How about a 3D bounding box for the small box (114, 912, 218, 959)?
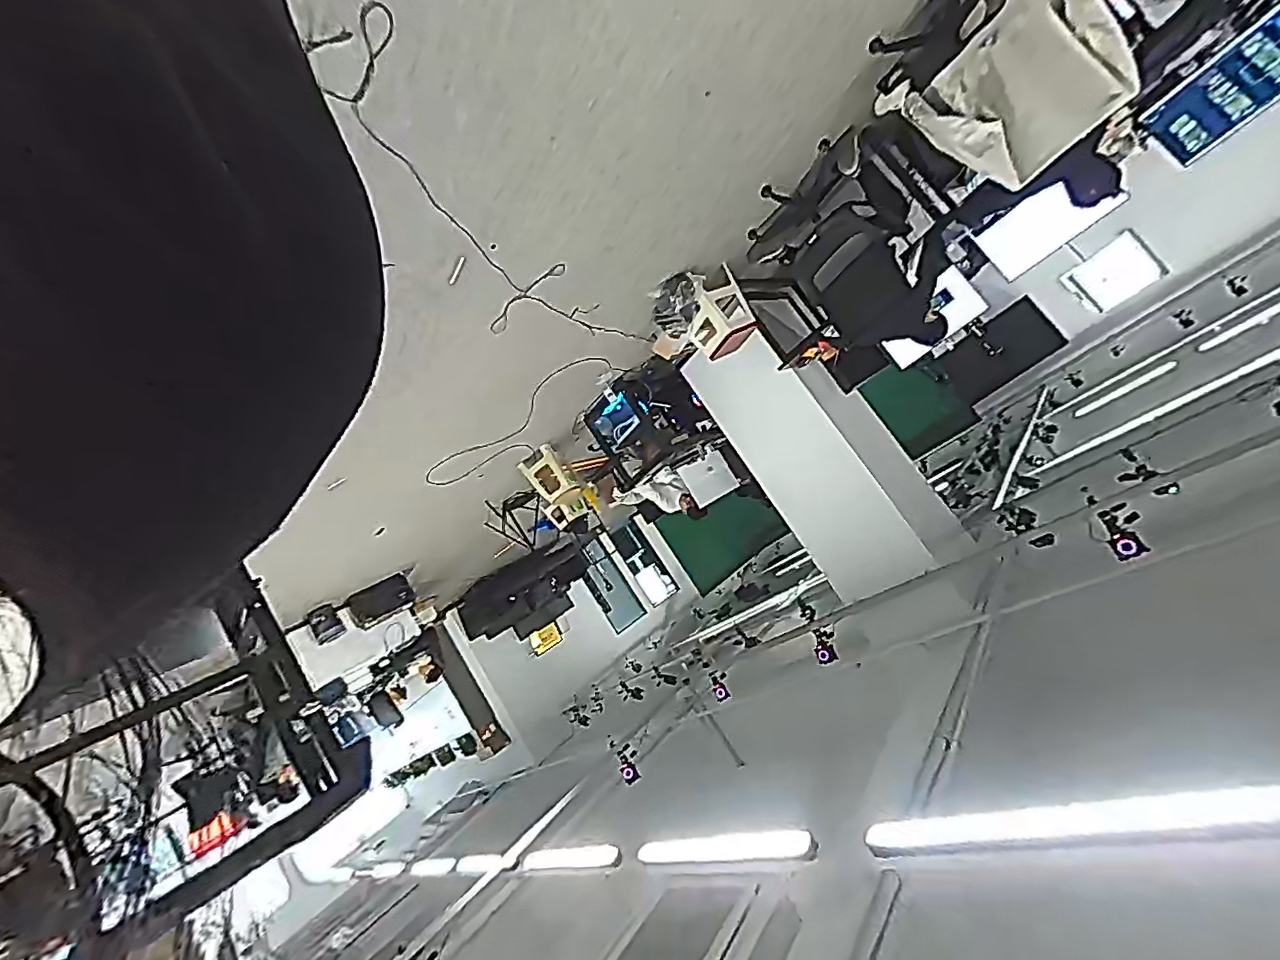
[{"bbox_3d":[-1.175,1.208,1.331,0.179,0.176,0.168,-24,168,-44],"label":"small box"}]
